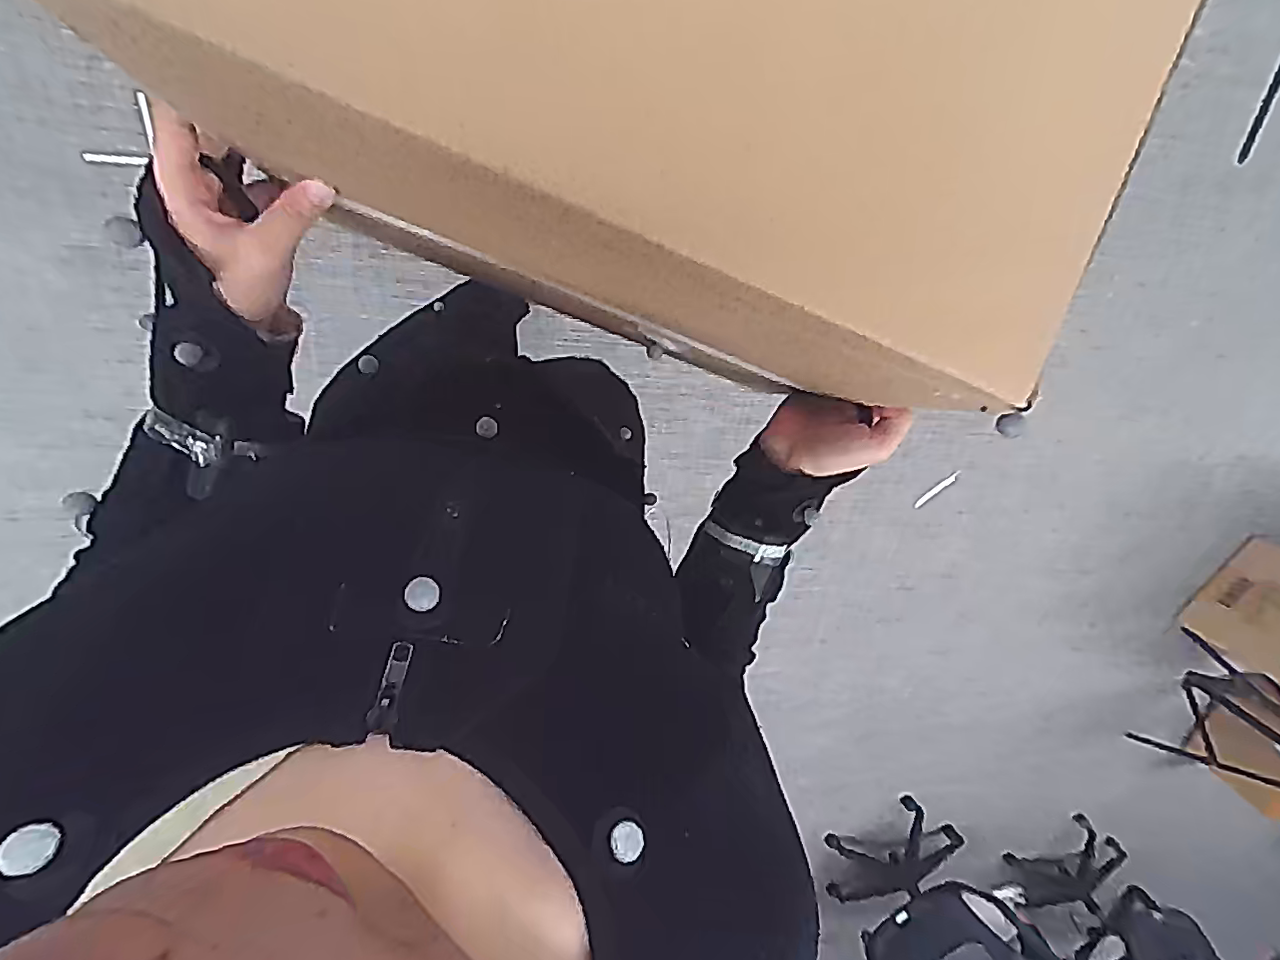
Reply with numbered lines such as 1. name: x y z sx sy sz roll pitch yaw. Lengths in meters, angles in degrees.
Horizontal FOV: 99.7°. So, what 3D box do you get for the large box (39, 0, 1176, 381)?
1. large box: 0.005 -0.274 0.316 0.408 0.320 0.320 17 99 -14
